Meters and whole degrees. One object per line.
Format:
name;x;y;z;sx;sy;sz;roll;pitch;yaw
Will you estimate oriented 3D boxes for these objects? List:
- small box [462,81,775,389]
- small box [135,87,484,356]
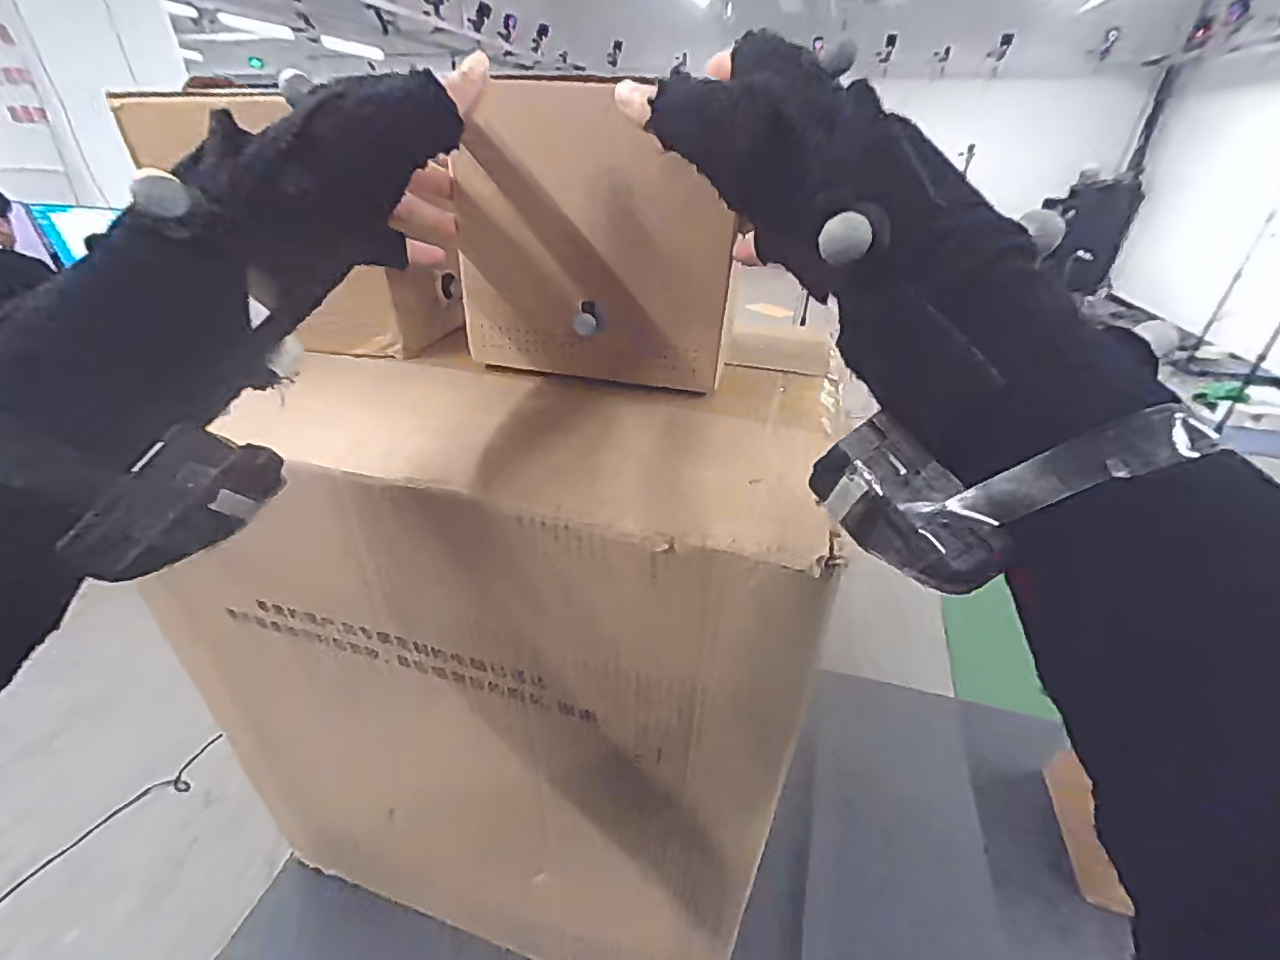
small box;-0.005;-0.178;0.400;0.179;0.176;0.168;10;31;9
small box;-0.227;-0.211;0.440;0.179;0.176;0.168;9;36;10
